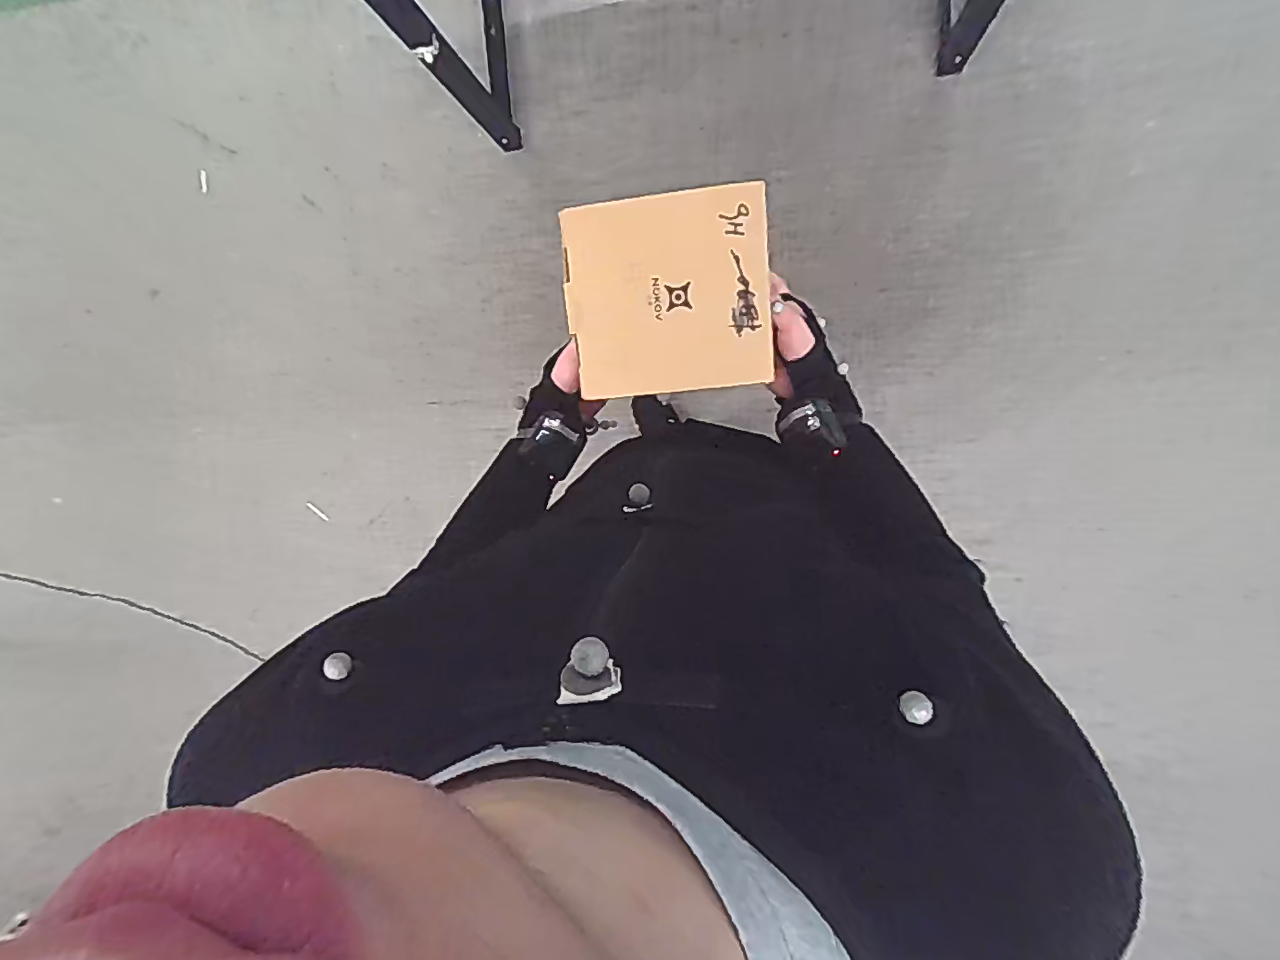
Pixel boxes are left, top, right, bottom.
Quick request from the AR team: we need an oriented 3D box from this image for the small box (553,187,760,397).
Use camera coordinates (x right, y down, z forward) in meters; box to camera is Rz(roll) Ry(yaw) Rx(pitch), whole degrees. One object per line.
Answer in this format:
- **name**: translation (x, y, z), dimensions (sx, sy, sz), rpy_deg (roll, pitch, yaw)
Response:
- **small box**: translation (0.024, -0.178, 0.552), dimensions (0.179, 0.176, 0.168), rpy_deg (-4, 104, 6)
